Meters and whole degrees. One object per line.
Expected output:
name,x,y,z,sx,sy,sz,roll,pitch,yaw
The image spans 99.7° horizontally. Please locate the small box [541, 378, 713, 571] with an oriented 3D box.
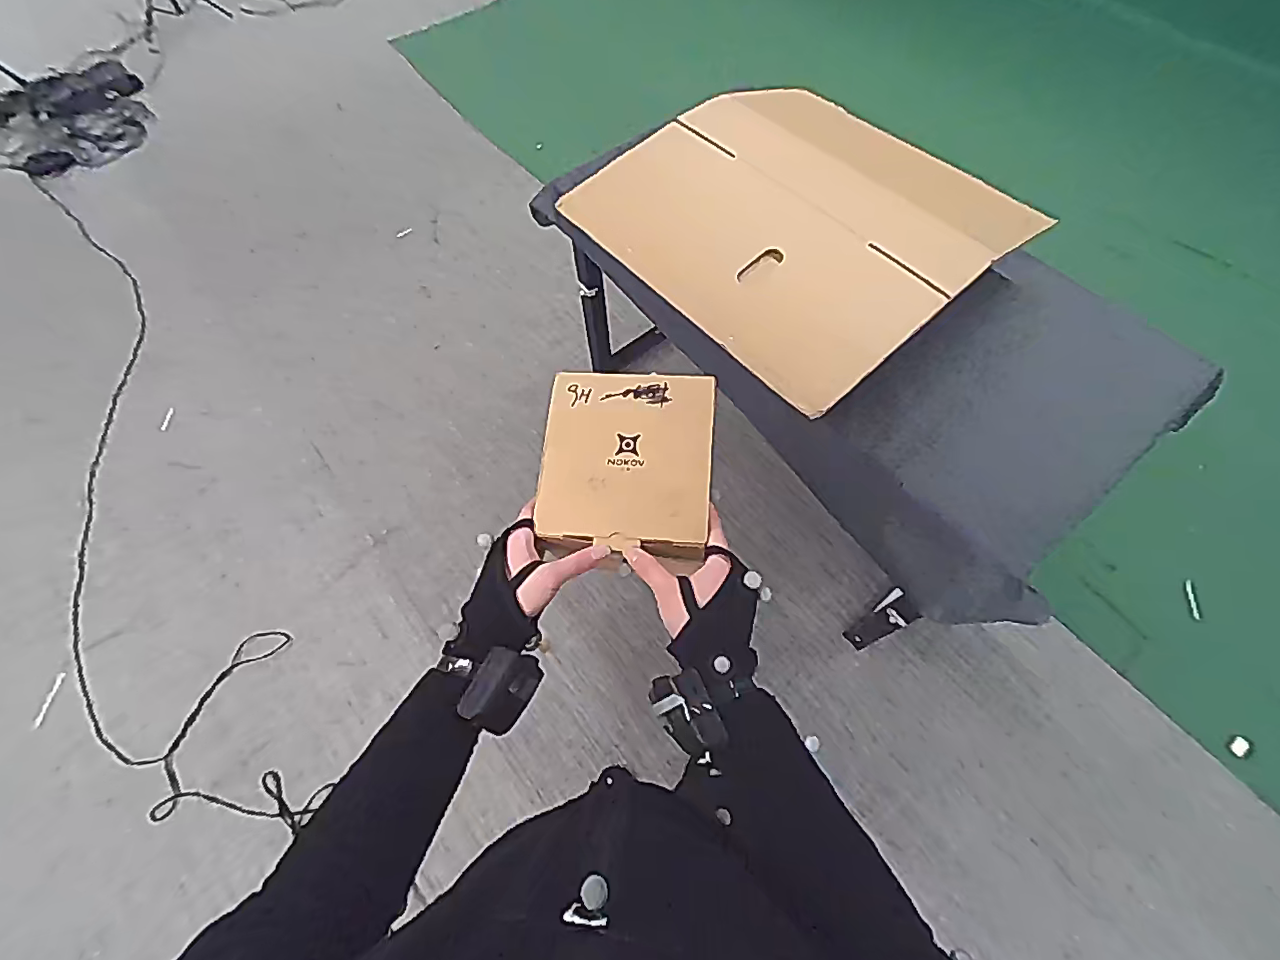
small box,-0.002,0.003,0.609,0.168,0.176,0.179,0,70,6
